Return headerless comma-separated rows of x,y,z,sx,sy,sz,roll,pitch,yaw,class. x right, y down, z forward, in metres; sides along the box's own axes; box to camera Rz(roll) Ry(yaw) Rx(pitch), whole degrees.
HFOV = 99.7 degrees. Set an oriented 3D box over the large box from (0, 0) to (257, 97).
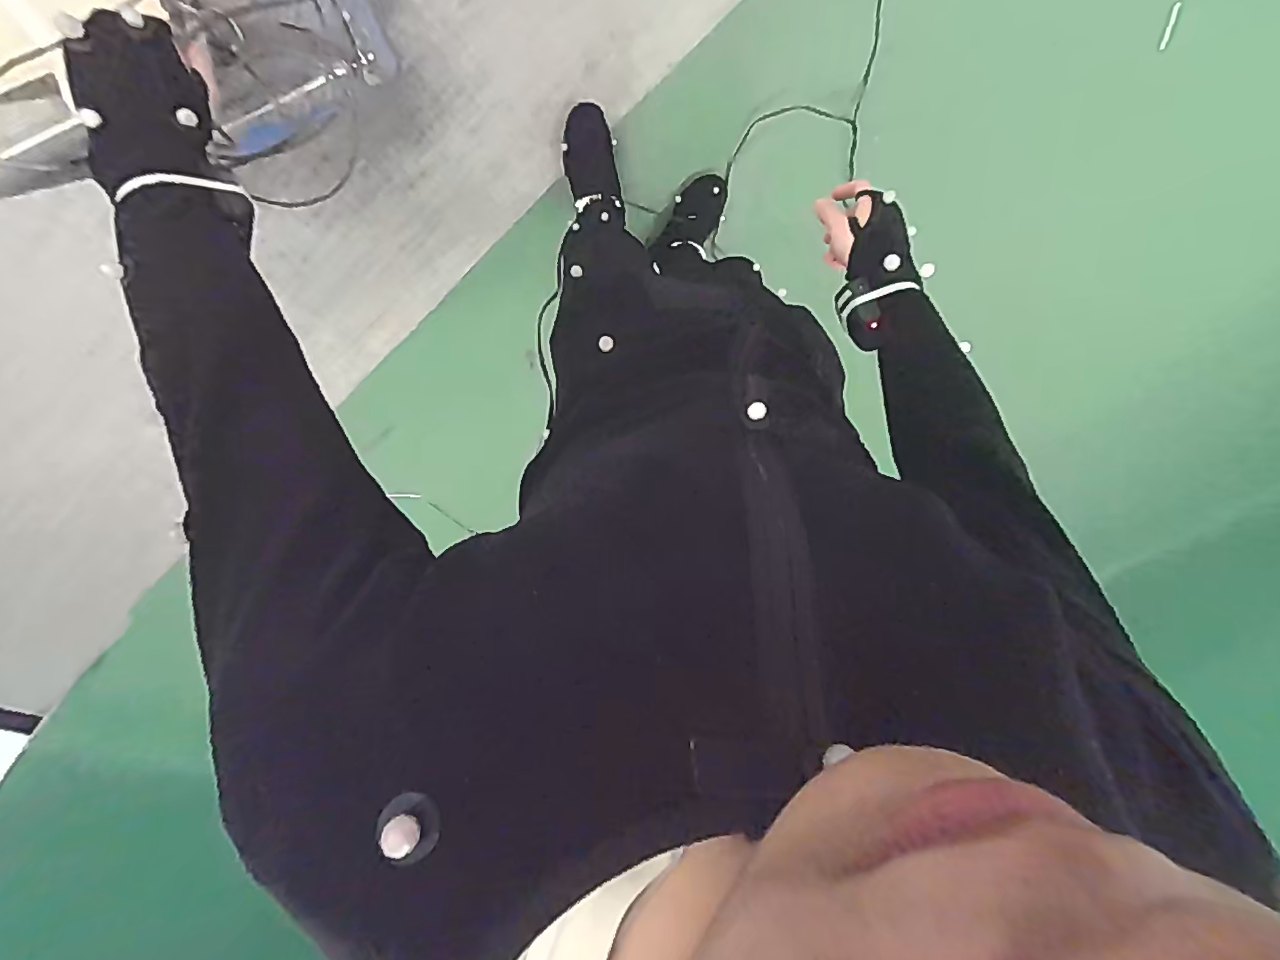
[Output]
-0.804,-0.768,0.665,0.320,0.320,0.408,-18,130,4,large box
